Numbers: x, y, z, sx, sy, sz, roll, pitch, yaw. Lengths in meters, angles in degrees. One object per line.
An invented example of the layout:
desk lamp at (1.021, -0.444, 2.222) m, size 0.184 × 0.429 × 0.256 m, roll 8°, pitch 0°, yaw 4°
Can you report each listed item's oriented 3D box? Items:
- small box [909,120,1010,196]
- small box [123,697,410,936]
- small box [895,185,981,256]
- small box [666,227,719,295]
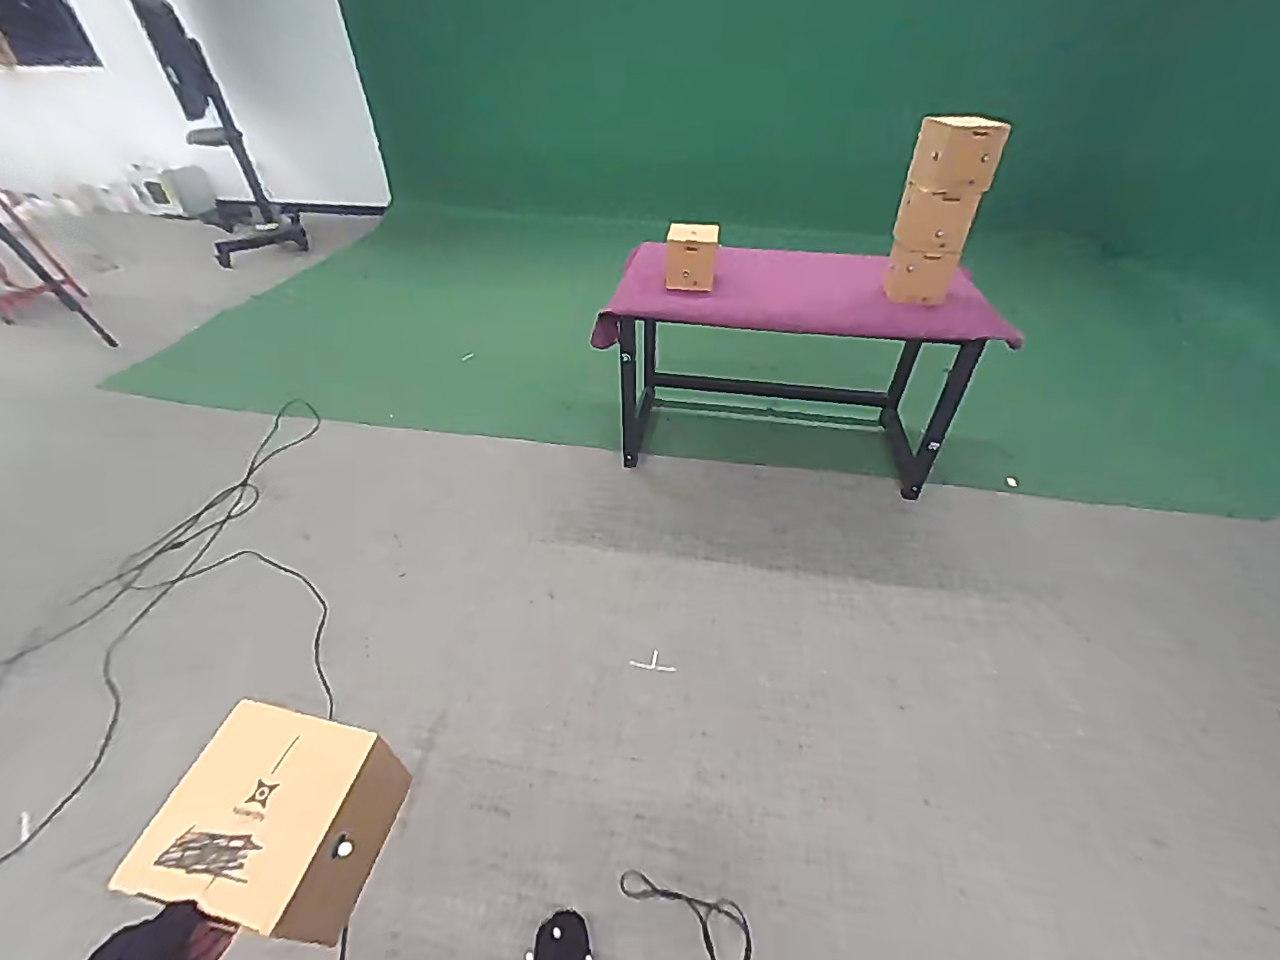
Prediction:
small box at (0.919, -0.935, 1.574) m, size 0.168 × 0.176 × 0.179 m, roll -2°, pitch 40°, yaw -3°
small box at (-0.384, 0.377, 0.602) m, size 0.168 × 0.176 × 0.179 m, roll 12°, pitch 47°, yaw 6°
small box at (0.914, -0.811, 1.679) m, size 0.168 × 0.176 × 0.179 m, roll 4°, pitch 41°, yaw 6°
small box at (0.183, -0.765, 1.885) m, size 0.168 × 0.176 × 0.179 m, roll 6°, pitch 43°, yaw 6°
